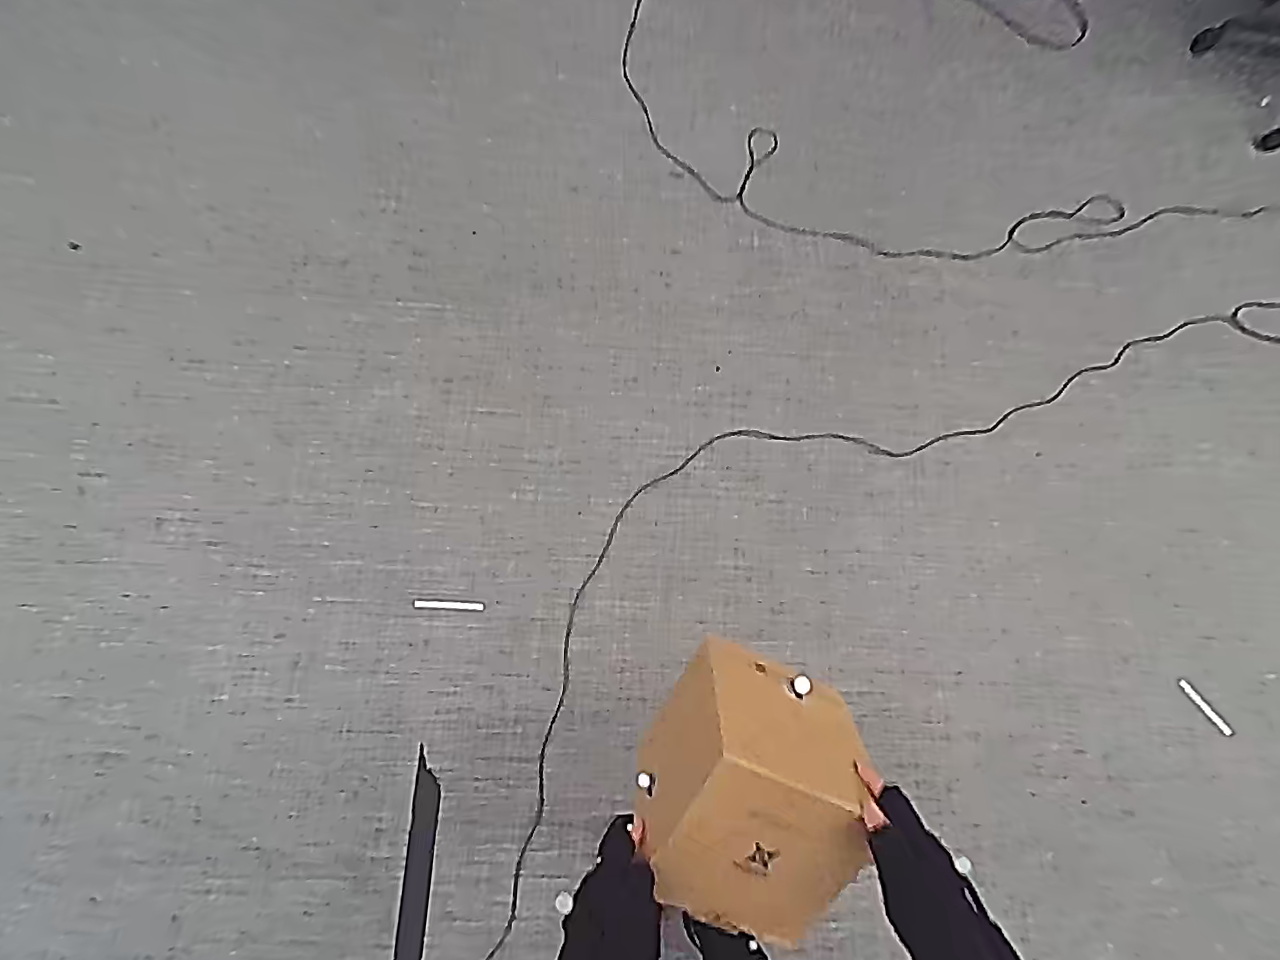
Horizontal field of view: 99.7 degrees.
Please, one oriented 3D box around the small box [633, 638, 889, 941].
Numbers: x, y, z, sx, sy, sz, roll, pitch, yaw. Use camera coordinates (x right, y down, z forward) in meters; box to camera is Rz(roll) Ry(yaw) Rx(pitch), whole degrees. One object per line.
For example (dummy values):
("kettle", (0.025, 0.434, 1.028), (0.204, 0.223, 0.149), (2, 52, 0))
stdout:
("small box", (0.106, 0.299, 0.547), (0.168, 0.176, 0.179), (24, 108, -7))
